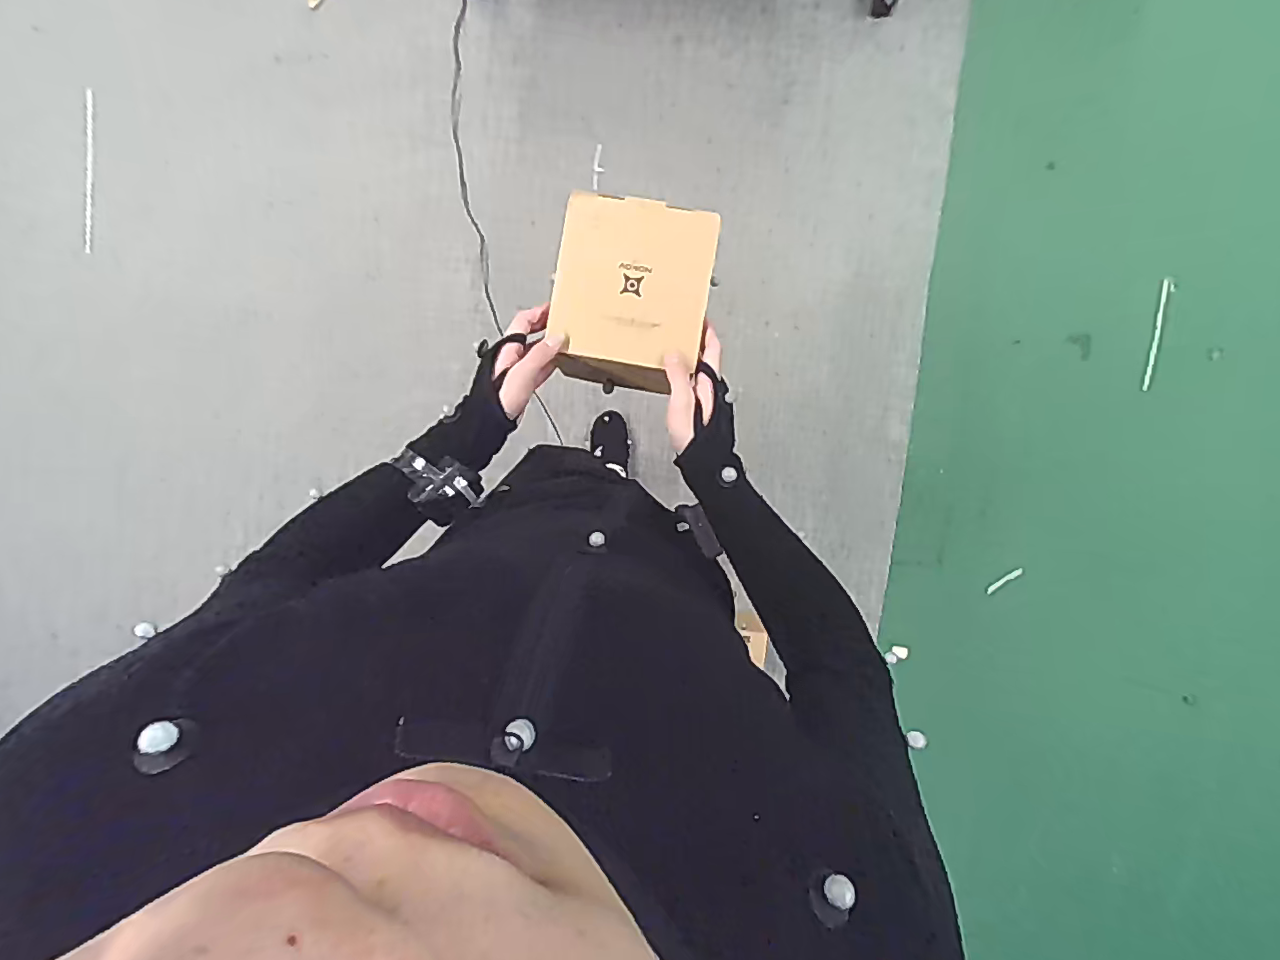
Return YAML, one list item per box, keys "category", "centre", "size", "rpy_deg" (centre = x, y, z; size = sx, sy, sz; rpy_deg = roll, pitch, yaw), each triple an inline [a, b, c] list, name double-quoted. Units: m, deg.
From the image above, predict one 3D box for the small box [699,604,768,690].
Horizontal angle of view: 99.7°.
- category: "small box"
  centre: [0.267, 0.481, 1.577]
  size: [0.168, 0.176, 0.179]
  rpy_deg: [7, 96, 2]

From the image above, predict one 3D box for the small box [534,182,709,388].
- category: "small box"
  centre: [-0.019, -0.221, 0.655]
  size: [0.168, 0.176, 0.179]
  rpy_deg: [9, 92, 2]
